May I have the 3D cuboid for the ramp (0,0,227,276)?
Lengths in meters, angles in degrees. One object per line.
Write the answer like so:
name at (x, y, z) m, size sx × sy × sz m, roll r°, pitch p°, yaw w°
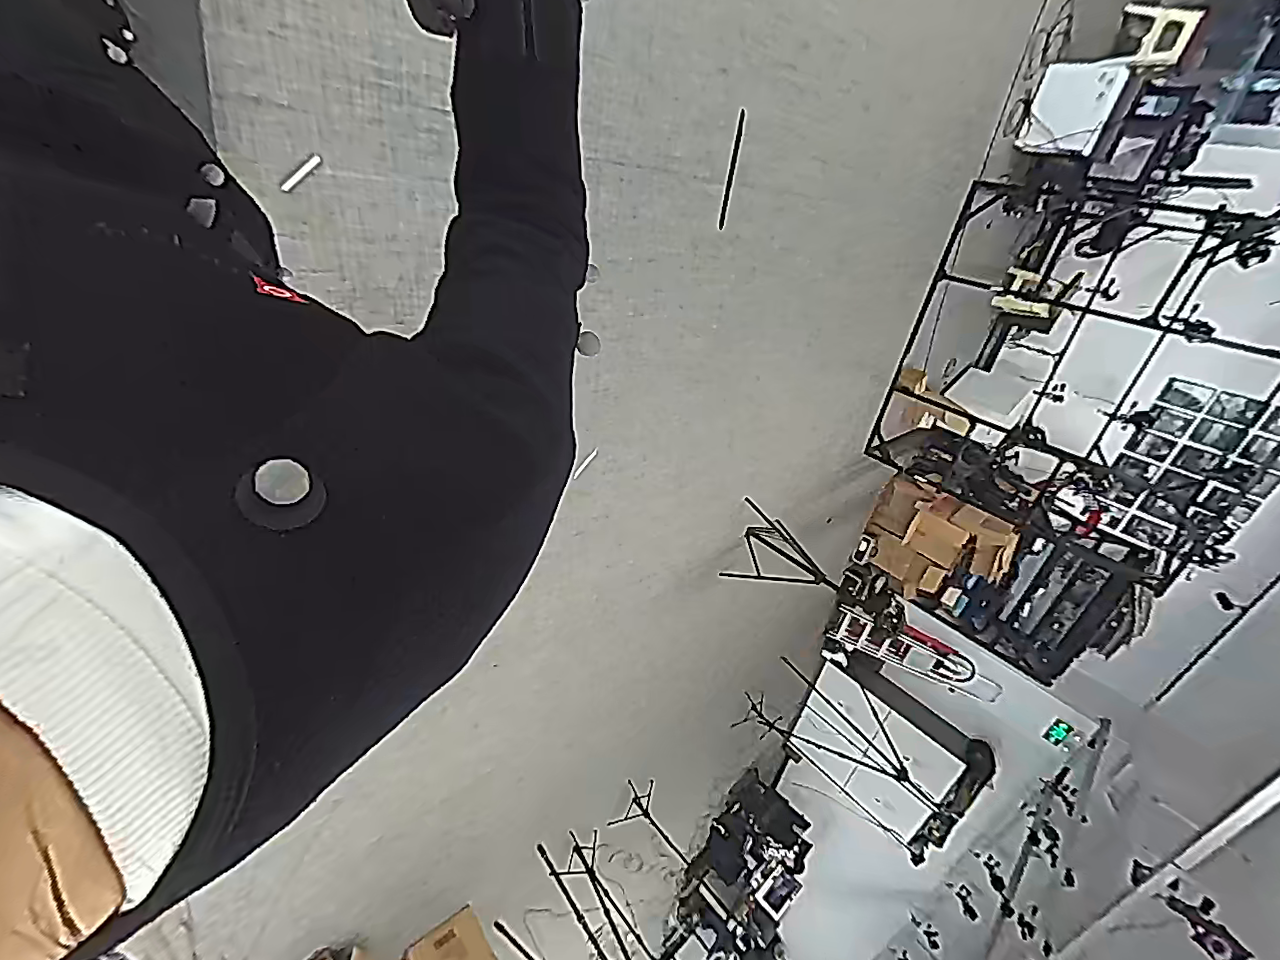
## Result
ramp at (-0.916, -0.775, 0.737) m, size 0.509 × 0.206 × 0.991 m, roll -18°, pitch 131°, yaw -42°
